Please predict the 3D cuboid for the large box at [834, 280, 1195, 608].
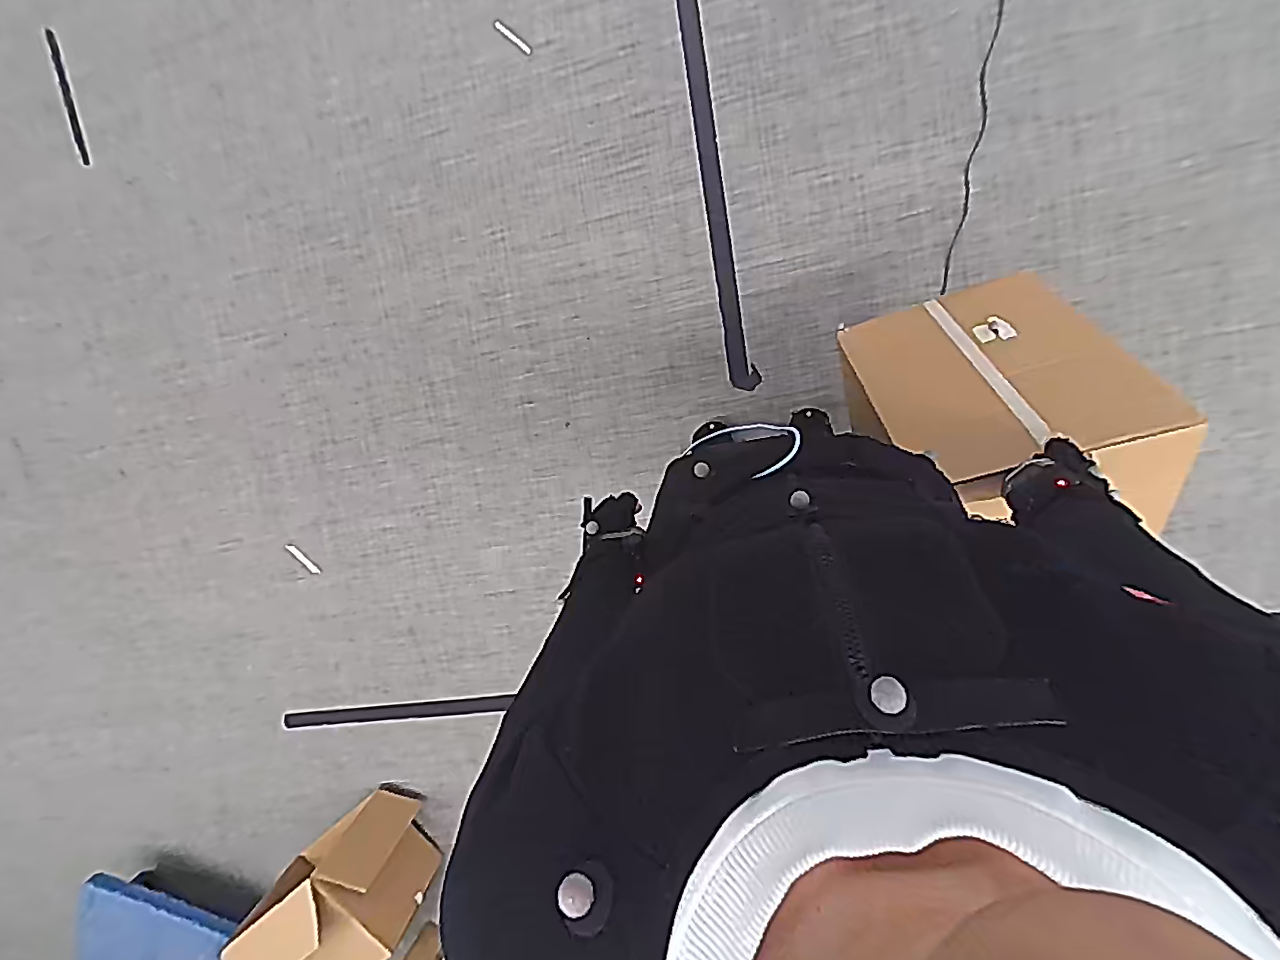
[{"bbox_3d":[0.554,-0.061,0.899,0.320,0.408,0.320,-16,132,13],"label":"large box"}]
